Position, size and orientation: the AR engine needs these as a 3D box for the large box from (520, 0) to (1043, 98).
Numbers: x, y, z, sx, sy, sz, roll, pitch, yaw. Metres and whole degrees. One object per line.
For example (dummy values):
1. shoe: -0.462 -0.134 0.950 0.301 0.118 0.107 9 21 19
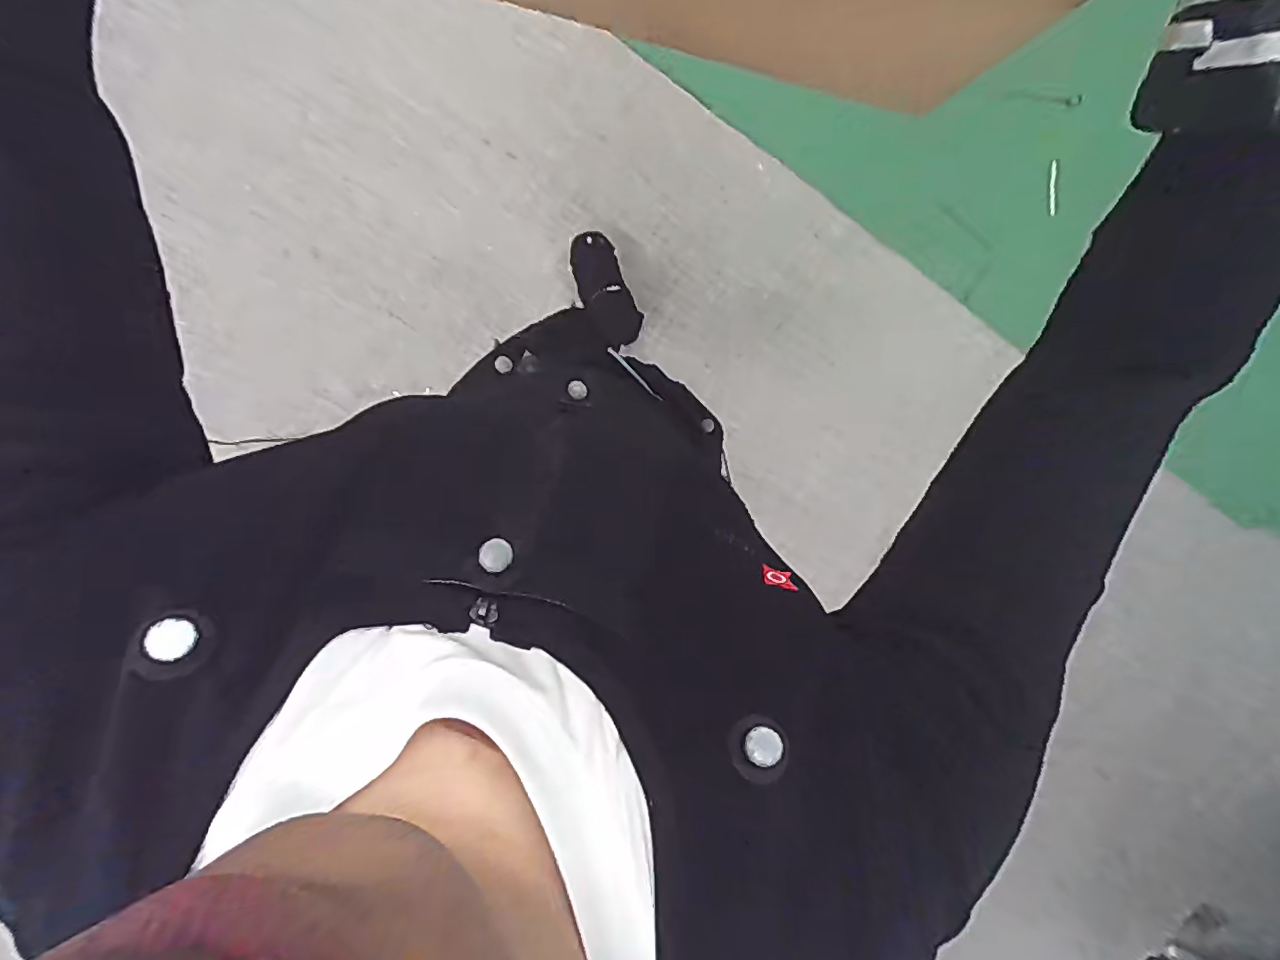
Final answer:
1. large box: 0.086 -0.472 0.283 0.408 0.320 0.320 12 107 -4
